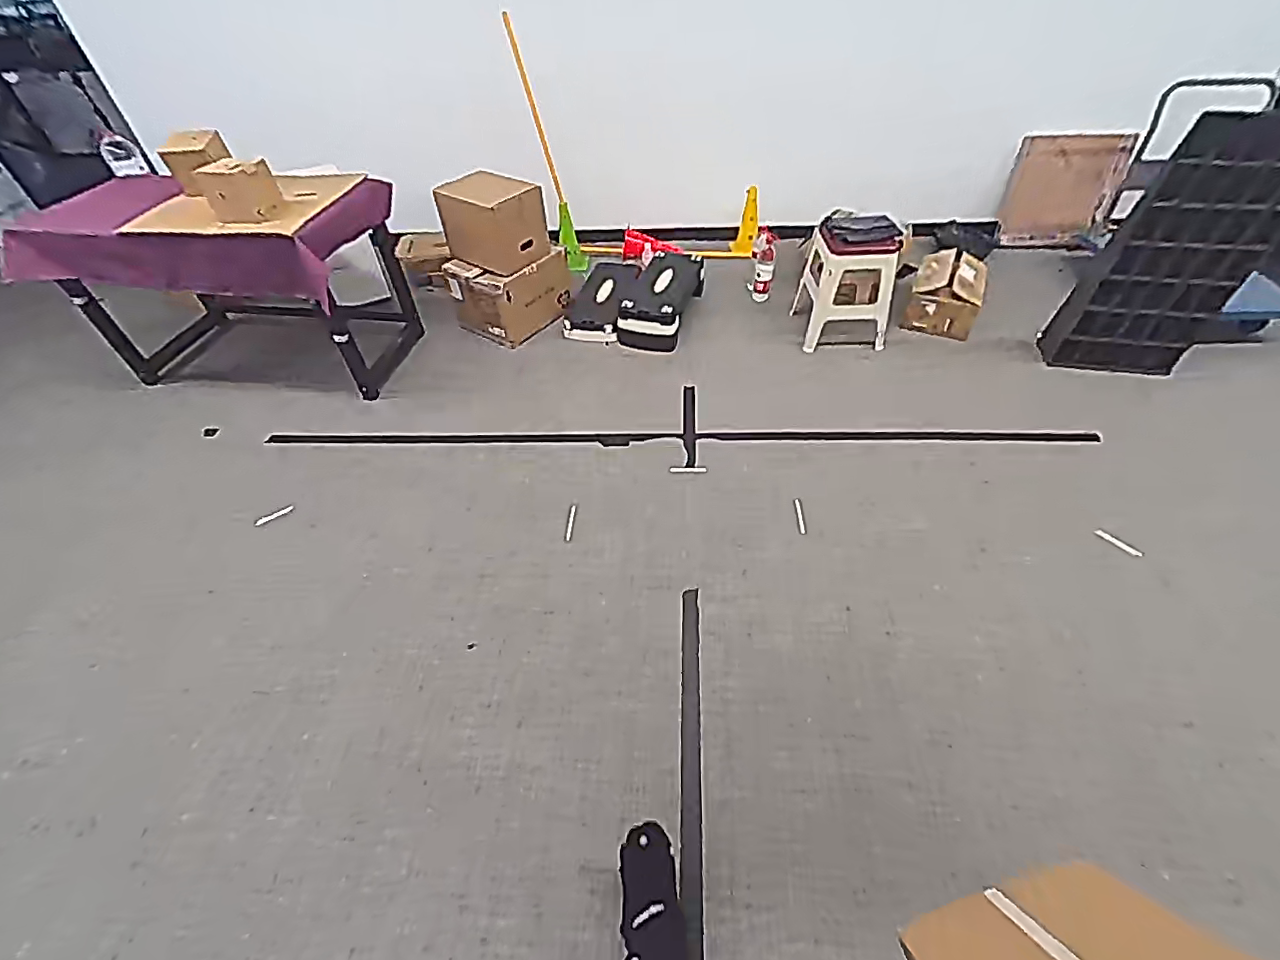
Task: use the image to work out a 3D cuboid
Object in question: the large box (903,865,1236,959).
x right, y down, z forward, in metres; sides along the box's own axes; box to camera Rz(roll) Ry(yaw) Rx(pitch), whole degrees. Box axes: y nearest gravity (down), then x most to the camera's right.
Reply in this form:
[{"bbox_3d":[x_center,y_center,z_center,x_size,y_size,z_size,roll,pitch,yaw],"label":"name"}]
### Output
[{"bbox_3d":[0.580,0.735,0.600,0.320,0.408,0.320,-18,80,-3],"label":"large box"}]
